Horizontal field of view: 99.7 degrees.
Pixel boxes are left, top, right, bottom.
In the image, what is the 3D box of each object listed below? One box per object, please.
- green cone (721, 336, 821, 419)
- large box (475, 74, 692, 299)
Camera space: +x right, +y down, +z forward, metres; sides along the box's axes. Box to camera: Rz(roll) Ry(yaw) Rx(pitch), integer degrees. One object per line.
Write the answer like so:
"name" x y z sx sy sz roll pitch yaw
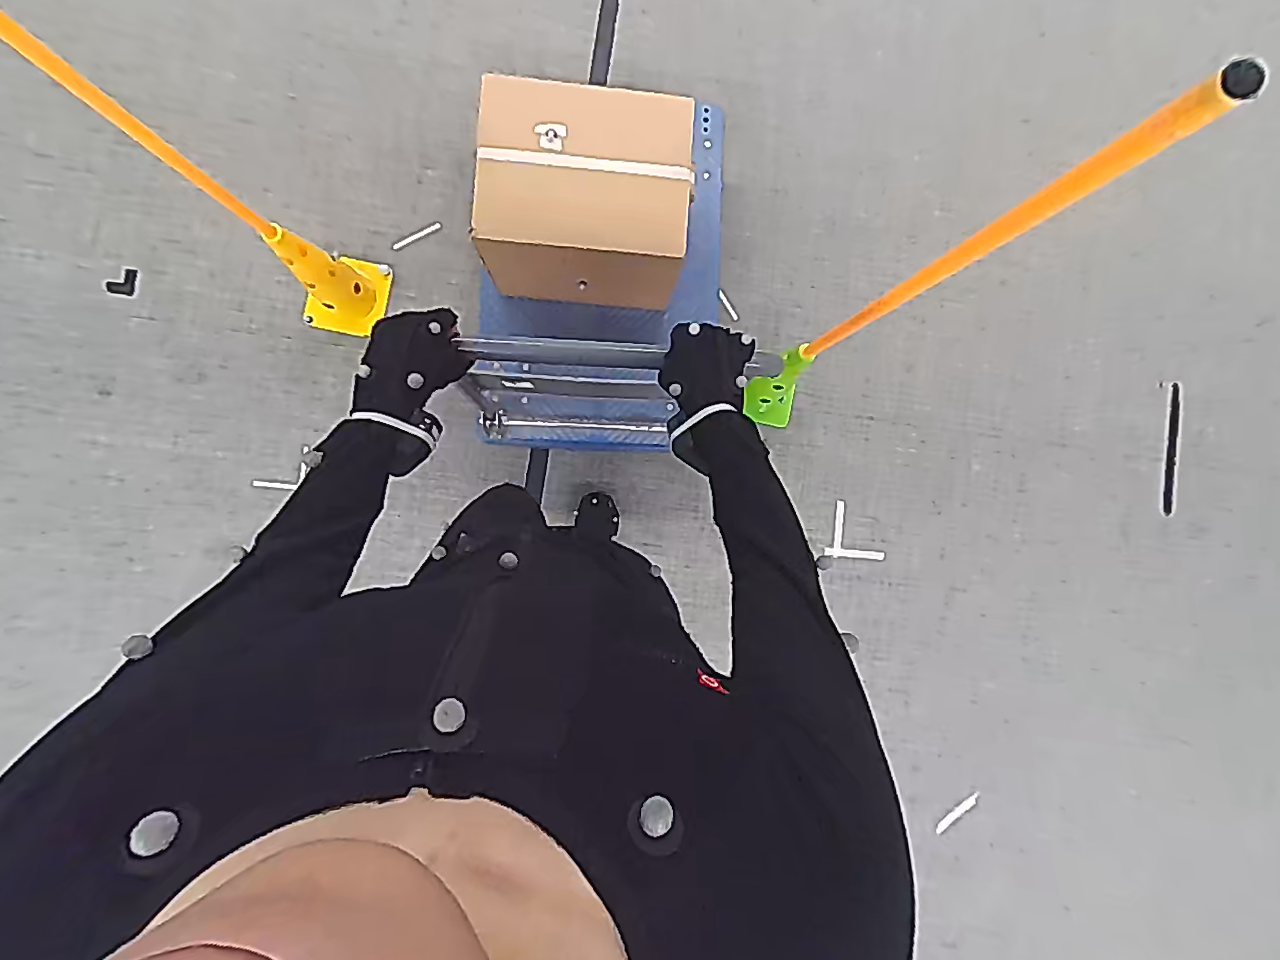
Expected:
"green cone" 0.352 -0.286 1.344 0.202 0.368 0.200 12 88 -5
"large box" -0.111 -0.603 1.174 0.408 0.320 0.320 4 89 -3
